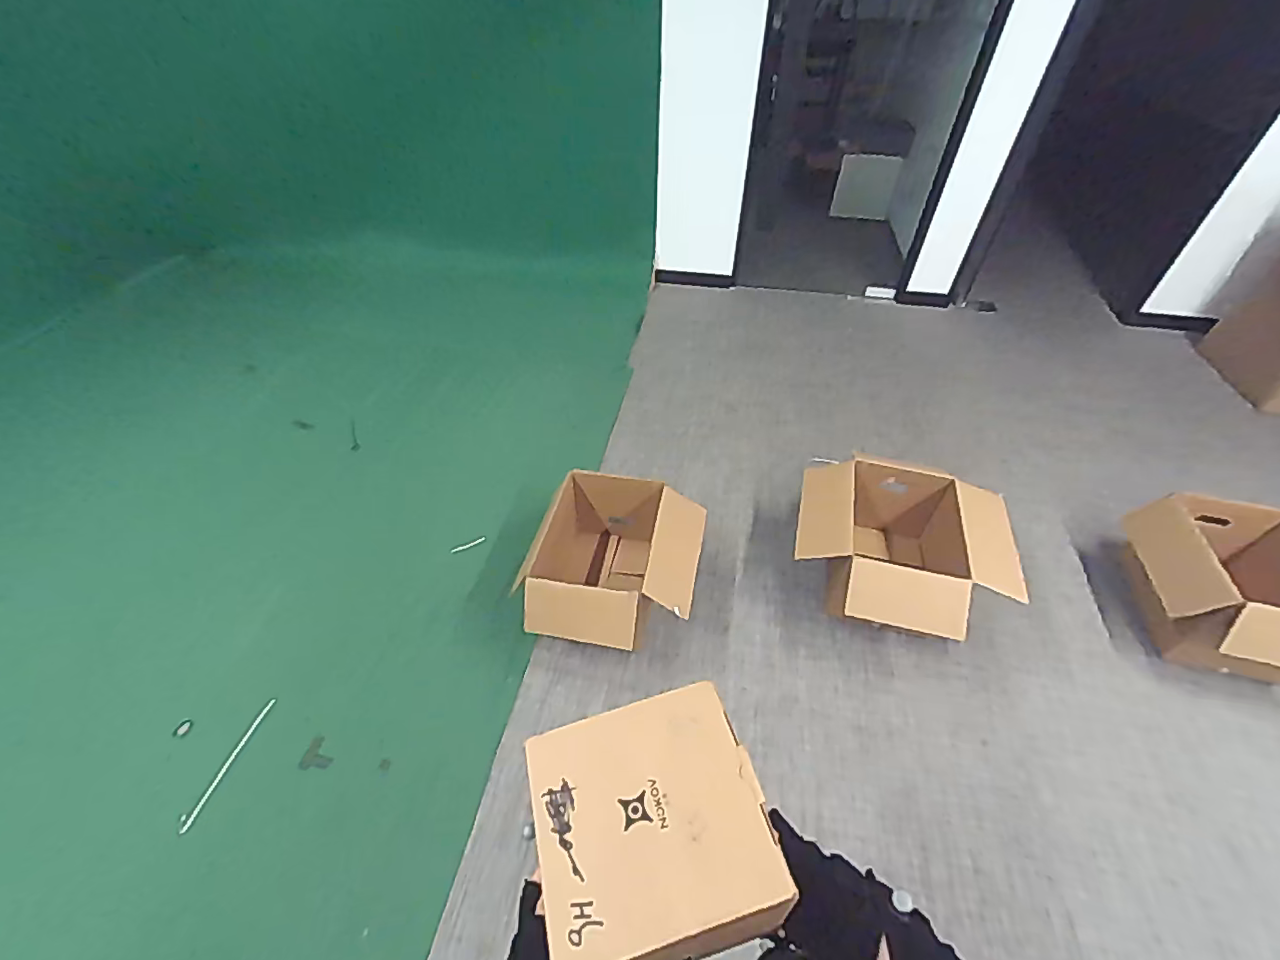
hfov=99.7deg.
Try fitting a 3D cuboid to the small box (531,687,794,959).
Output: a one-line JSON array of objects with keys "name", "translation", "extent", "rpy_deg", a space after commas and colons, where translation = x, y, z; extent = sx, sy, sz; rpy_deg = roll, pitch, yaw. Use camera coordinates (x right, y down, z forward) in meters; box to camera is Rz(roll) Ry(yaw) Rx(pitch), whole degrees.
[{"name": "small box", "translation": [0.012, 0.317, 0.480], "extent": [0.179, 0.176, 0.168], "rpy_deg": [-13, 44, -7]}]
